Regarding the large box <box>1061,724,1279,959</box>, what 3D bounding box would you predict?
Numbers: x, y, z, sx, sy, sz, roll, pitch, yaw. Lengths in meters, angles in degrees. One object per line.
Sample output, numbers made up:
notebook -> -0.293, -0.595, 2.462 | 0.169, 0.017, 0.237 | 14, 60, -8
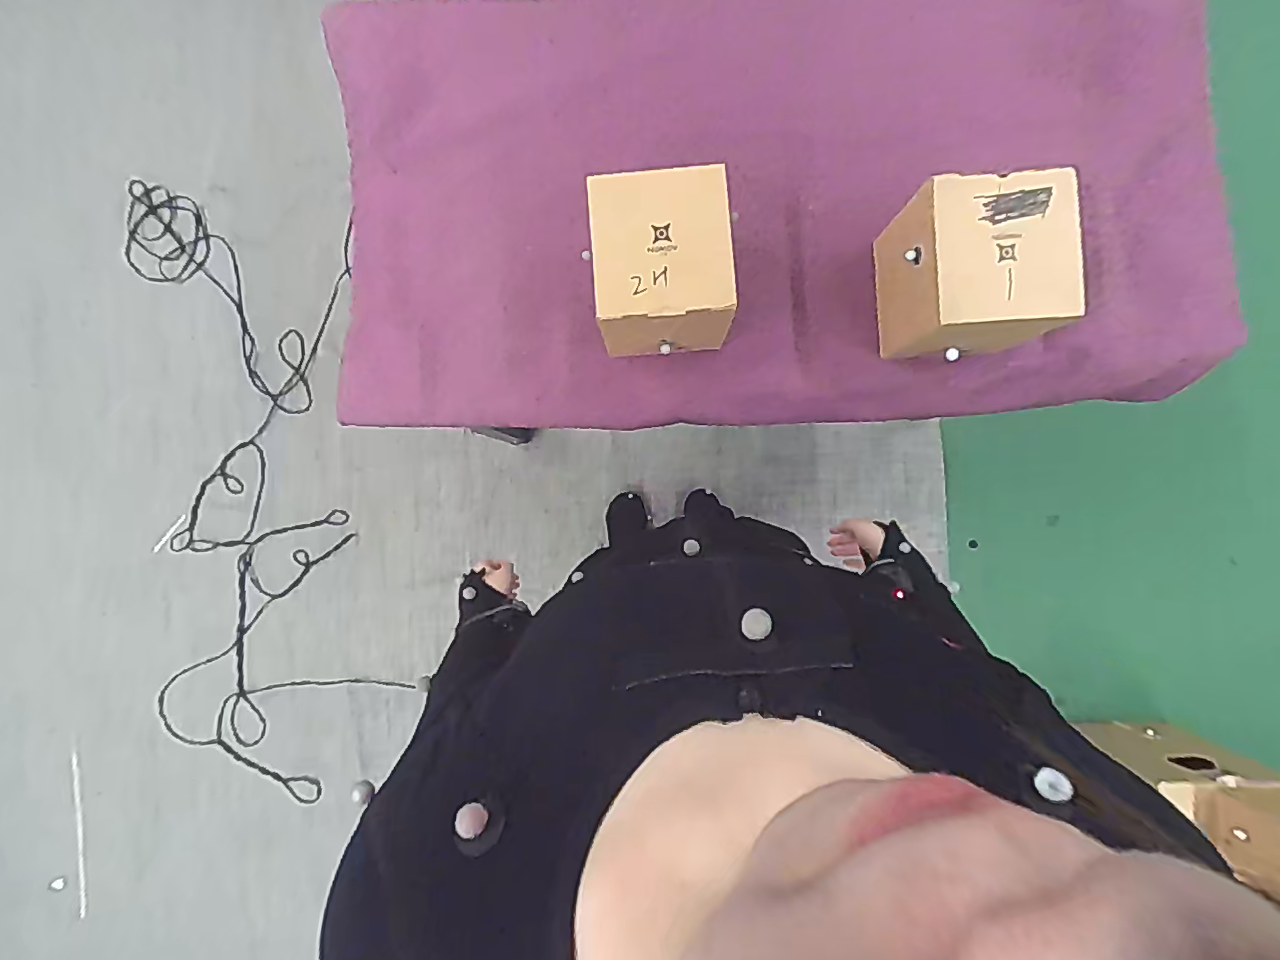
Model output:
large box -> 1.283, 0.852, 1.298 | 0.320, 0.320, 0.408 | -2, 90, 3

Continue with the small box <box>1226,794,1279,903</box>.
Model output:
small box -> 1.322, 0.740, 1.056 | 0.179, 0.176, 0.168 | -1, 89, 2

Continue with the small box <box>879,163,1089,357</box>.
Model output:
small box -> 0.420, -0.266, 0.689 | 0.168, 0.176, 0.179 | -3, 89, 2

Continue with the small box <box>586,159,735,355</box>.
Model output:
small box -> 0.025, -0.275, 0.701 | 0.168, 0.176, 0.179 | -4, 87, 2
